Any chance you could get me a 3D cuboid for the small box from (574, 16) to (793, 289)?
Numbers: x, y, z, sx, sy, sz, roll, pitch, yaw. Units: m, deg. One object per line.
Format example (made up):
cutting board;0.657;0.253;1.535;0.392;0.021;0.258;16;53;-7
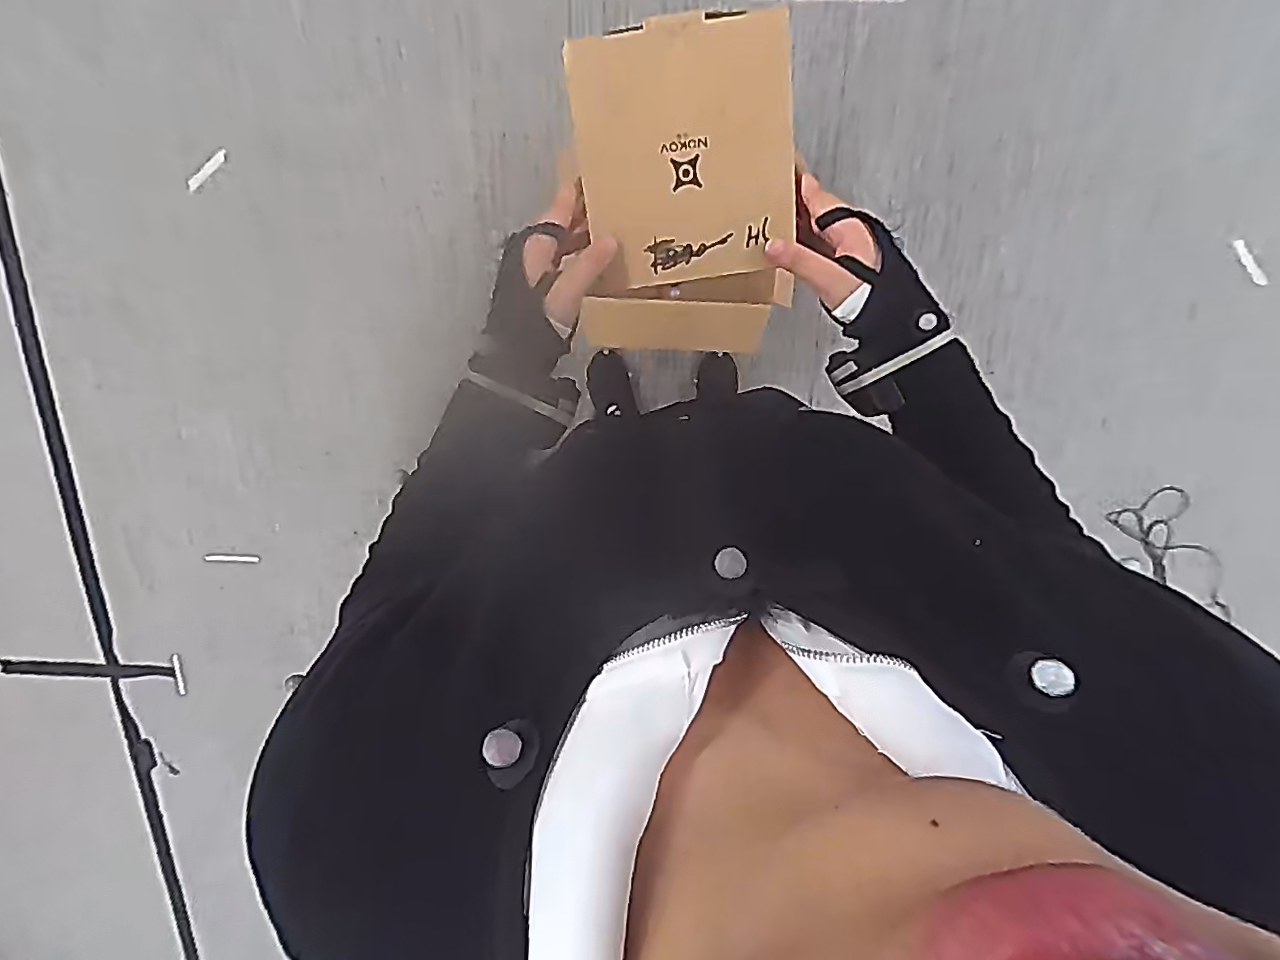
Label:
small box;0.038;-0.279;0.501;0.168;0.176;0.179;-6;112;2
